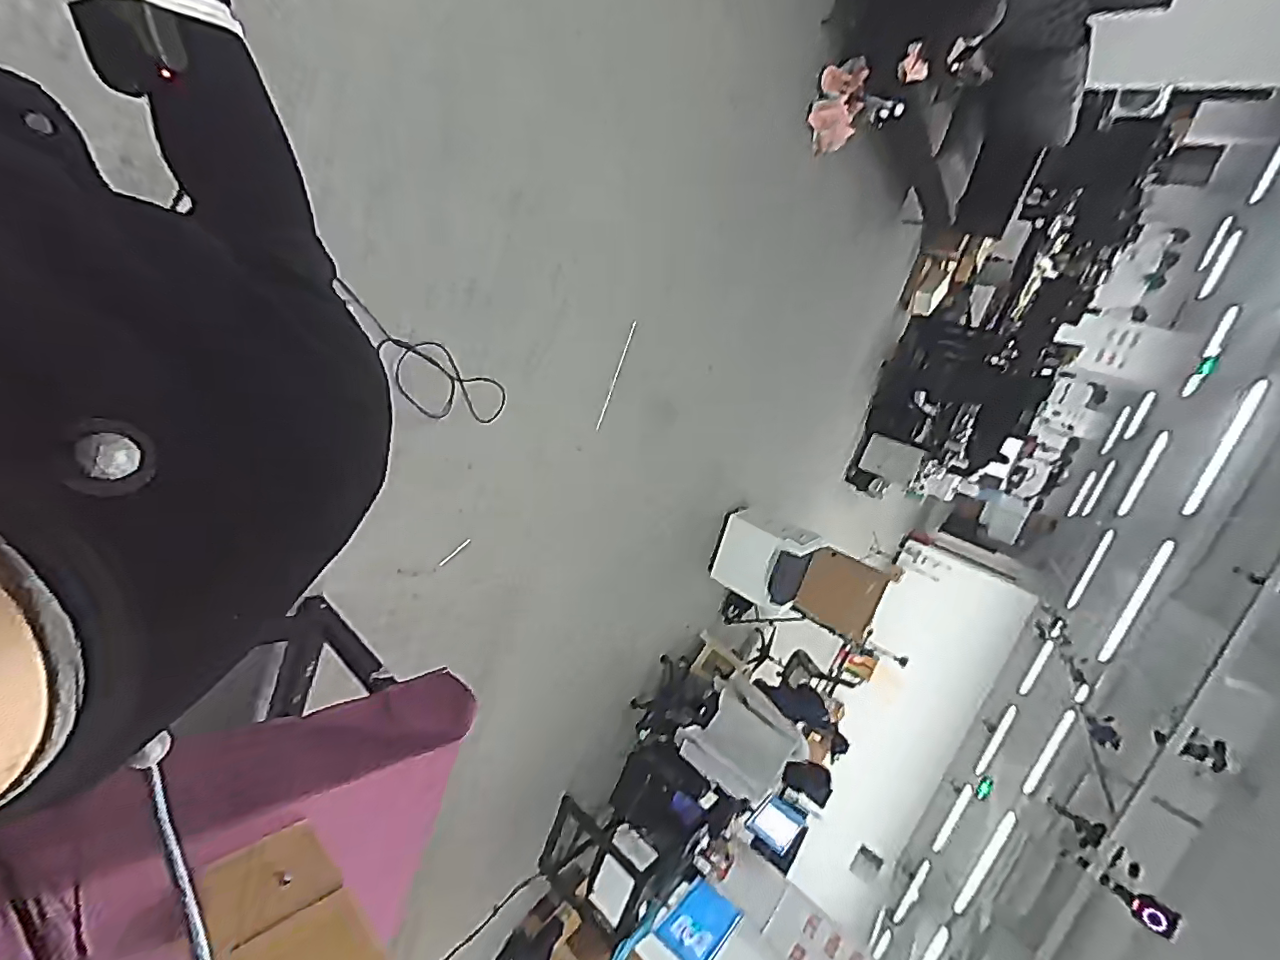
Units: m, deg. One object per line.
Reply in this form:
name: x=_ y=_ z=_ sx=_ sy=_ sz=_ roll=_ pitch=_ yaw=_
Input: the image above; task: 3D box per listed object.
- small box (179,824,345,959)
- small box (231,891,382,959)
small box: x=-0.652 y=0.748 z=0.933 sx=0.179 sy=0.176 sz=0.168 roll=2 pitch=111 yaw=-55
small box: x=-0.528 y=0.808 z=0.846 sx=0.179 sy=0.176 sz=0.168 roll=2 pitch=112 yaw=-53
